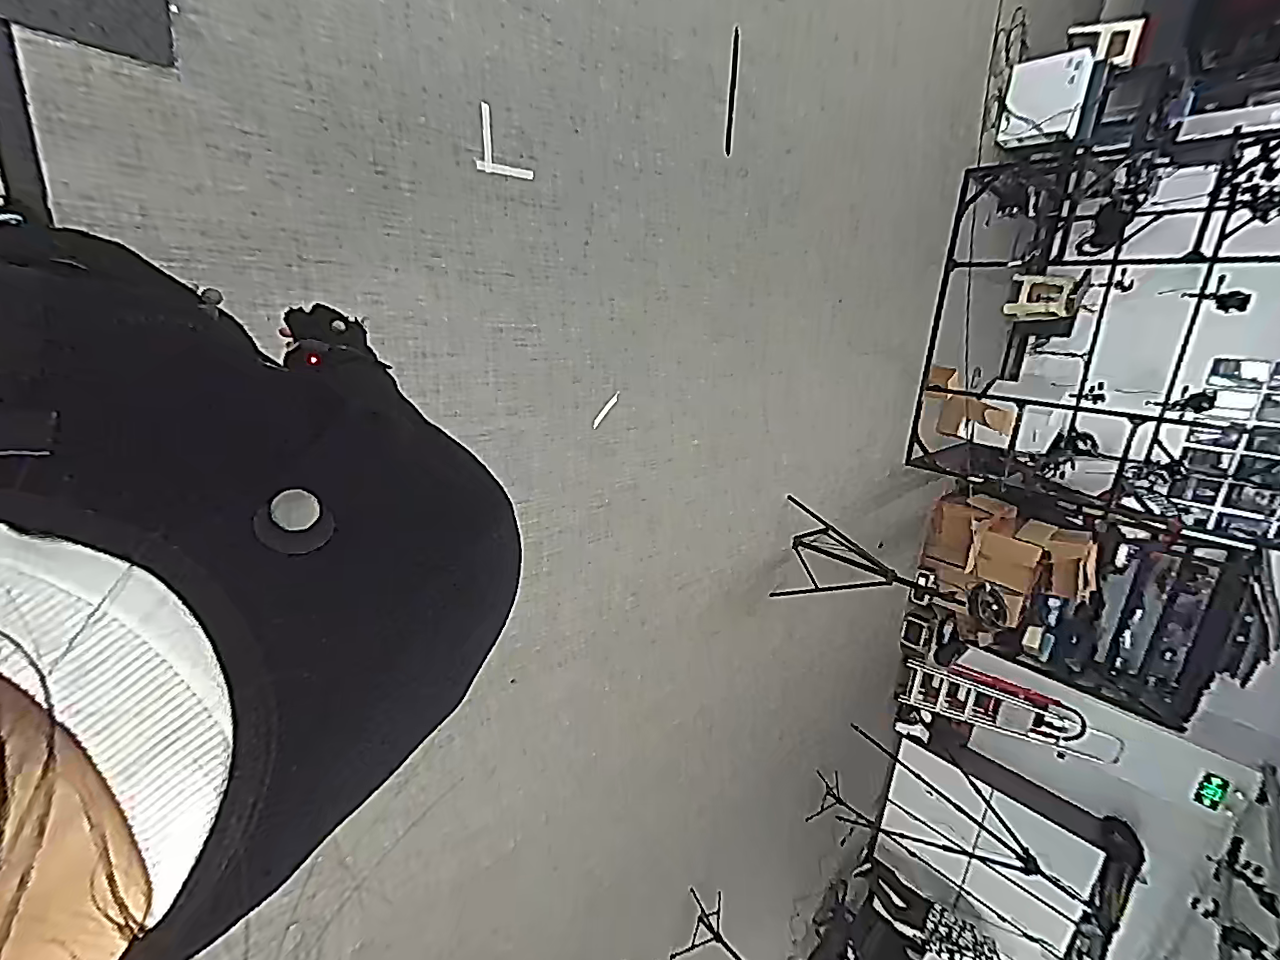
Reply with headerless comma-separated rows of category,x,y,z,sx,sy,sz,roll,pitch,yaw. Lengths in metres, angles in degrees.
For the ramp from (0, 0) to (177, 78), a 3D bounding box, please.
ramp,-0.958,-1.165,0.666,0.509,0.206,0.991,-14,113,-42
